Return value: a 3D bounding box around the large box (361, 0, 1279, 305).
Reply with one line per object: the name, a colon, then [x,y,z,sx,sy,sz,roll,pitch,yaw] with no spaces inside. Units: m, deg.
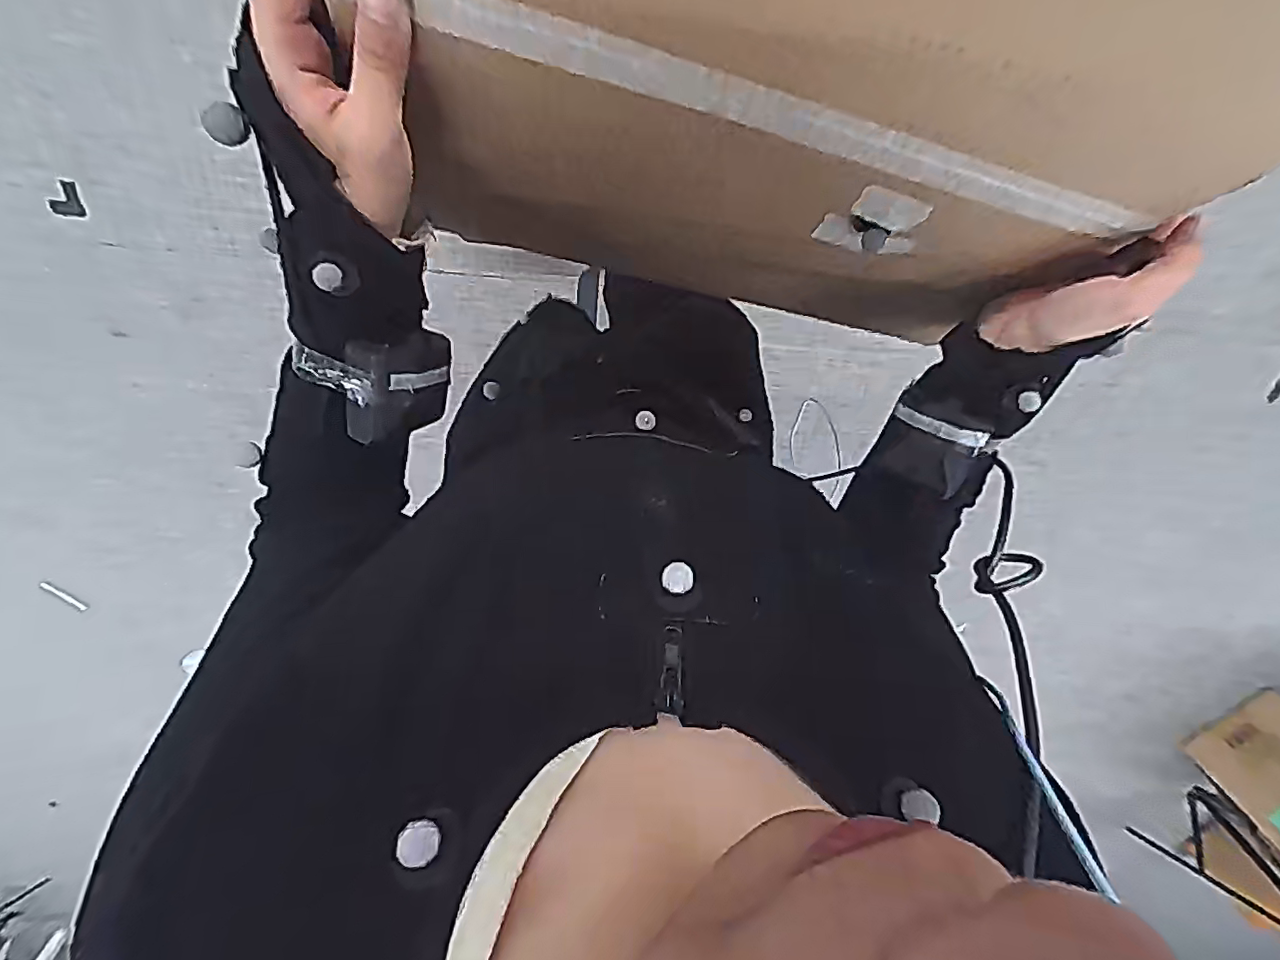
large box: [0.102,-0.322,0.237,0.408,0.320,0.320,7,80,-14]
